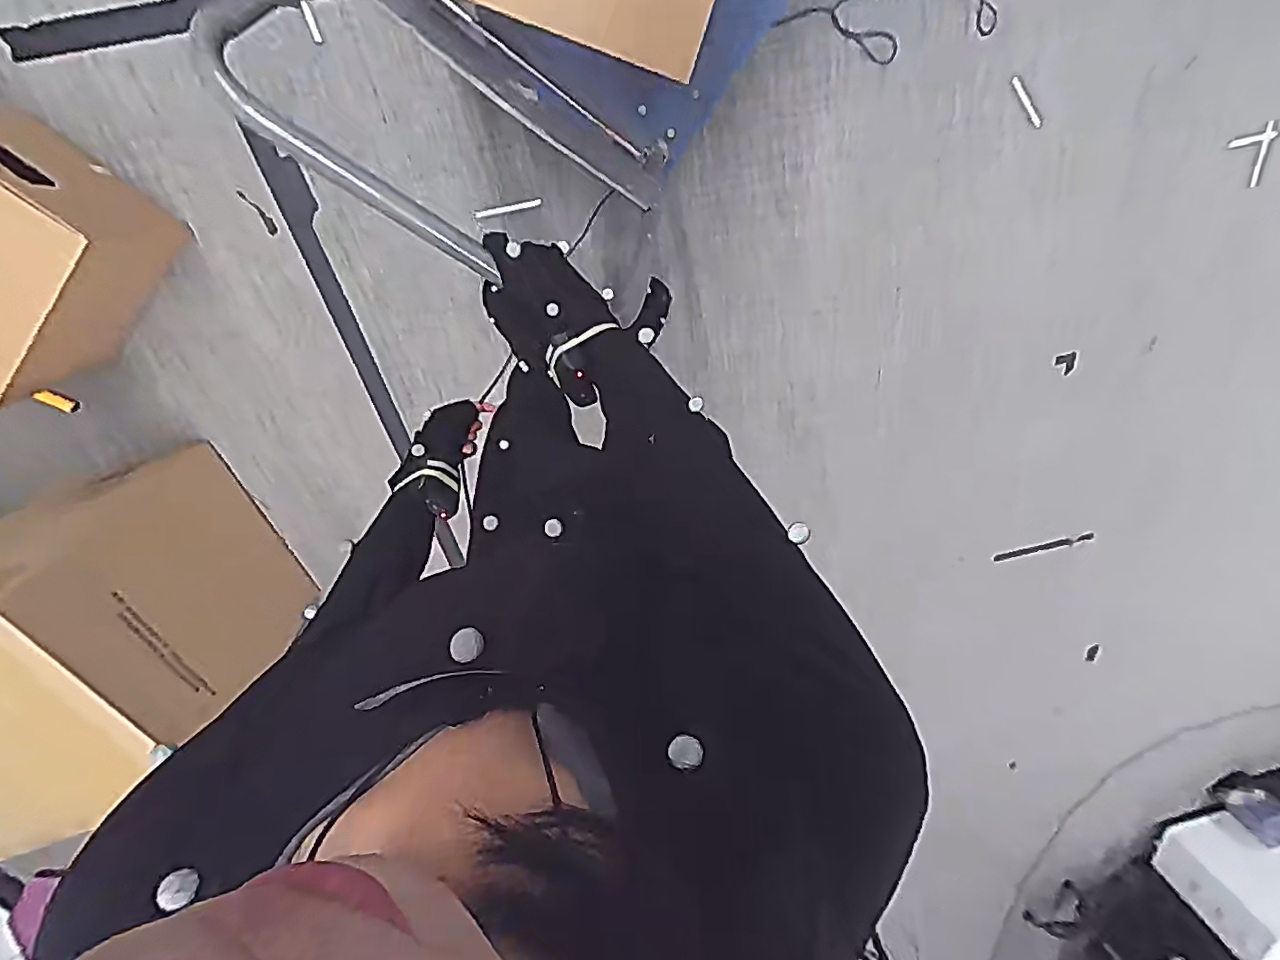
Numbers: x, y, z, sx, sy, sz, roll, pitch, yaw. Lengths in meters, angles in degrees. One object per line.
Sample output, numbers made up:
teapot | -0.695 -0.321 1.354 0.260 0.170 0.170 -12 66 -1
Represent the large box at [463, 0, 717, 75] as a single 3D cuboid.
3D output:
large box | -0.070 -0.837 0.766 0.408 0.320 0.320 12 133 -10
